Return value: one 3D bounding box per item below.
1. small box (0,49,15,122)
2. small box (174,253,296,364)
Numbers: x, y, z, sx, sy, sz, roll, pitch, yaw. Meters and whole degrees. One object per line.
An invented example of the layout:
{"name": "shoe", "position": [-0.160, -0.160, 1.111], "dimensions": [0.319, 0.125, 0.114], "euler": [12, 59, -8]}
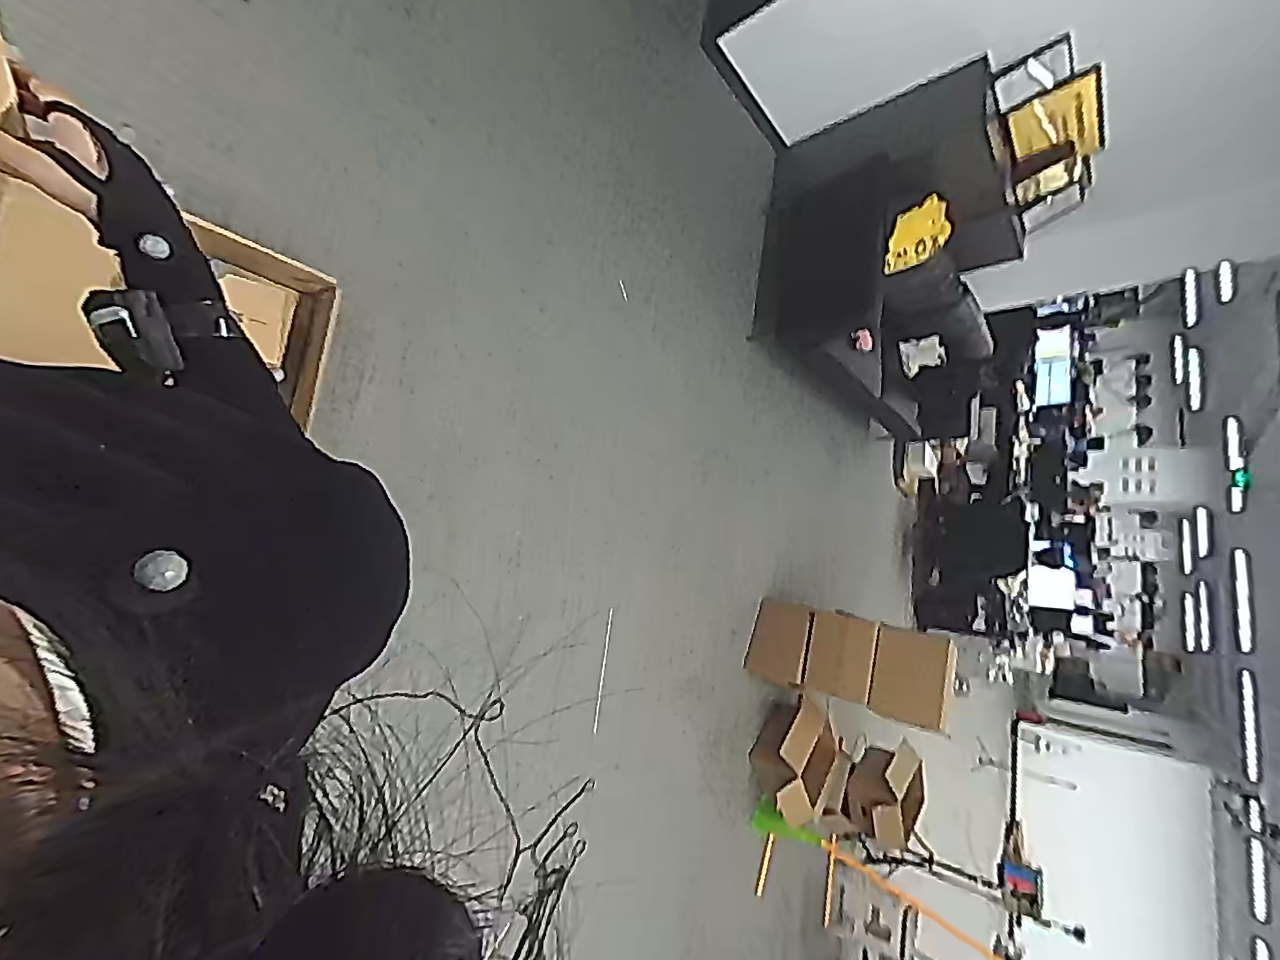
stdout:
{"name": "small box", "position": [-0.532, -0.330, 0.328], "dimensions": [0.179, 0.176, 0.168], "euler": [-17, 124, -46]}
{"name": "small box", "position": [-0.872, -0.355, 1.161], "dimensions": [0.179, 0.176, 0.168], "euler": [9, 85, -47]}
